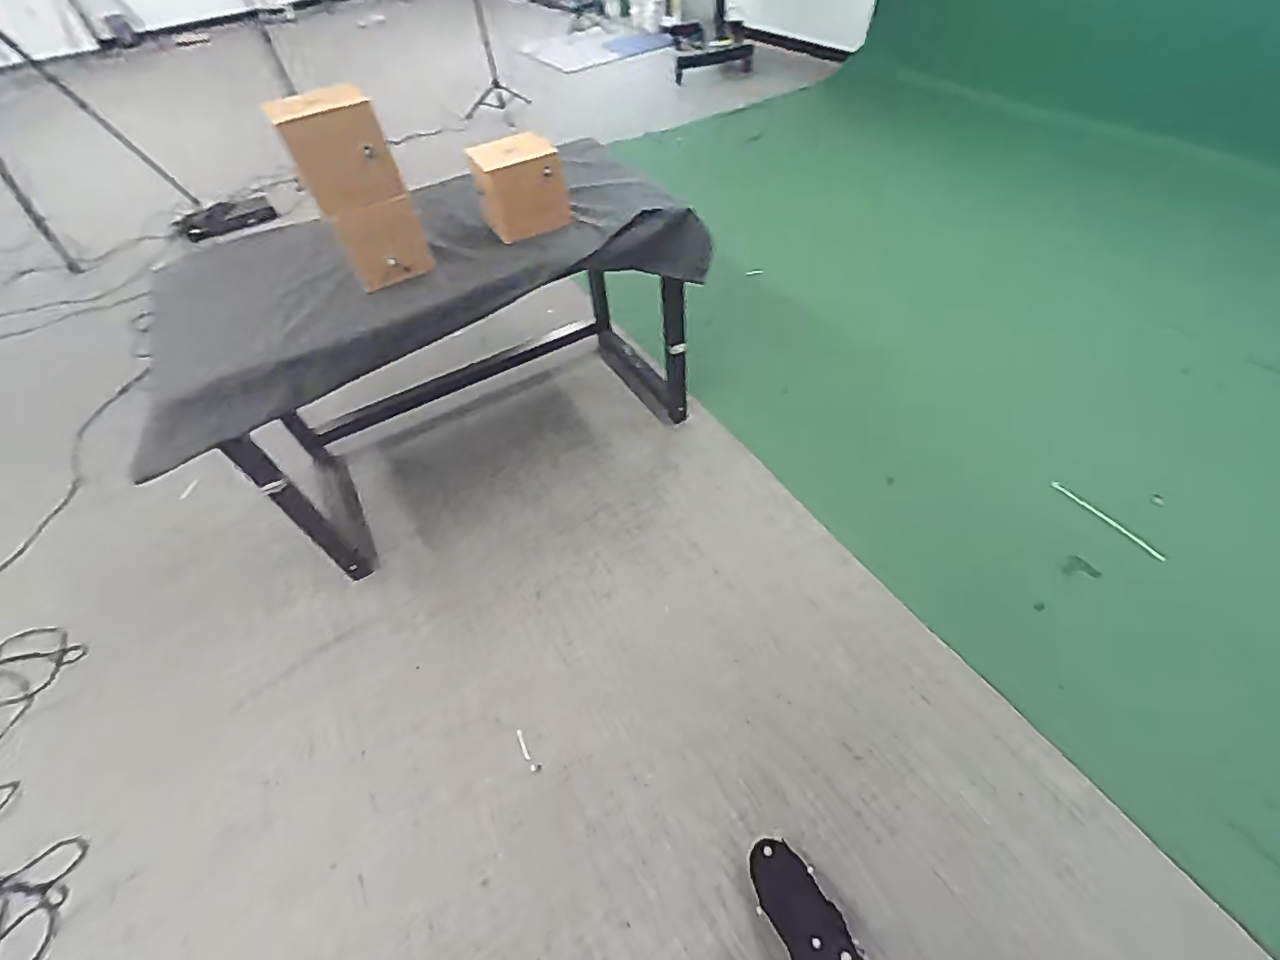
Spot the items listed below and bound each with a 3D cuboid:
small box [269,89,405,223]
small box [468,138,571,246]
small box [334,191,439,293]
[{"bbox_3d":[-0.597,-0.650,1.087,0.179,0.176,0.168,-29,53,-16],"label":"small box"},{"bbox_3d":[-0.285,-0.690,1.301,0.179,0.176,0.168,-26,52,-15],"label":"small box"},{"bbox_3d":[-0.579,-0.551,1.214,0.168,0.176,0.179,-28,54,-16],"label":"small box"}]
